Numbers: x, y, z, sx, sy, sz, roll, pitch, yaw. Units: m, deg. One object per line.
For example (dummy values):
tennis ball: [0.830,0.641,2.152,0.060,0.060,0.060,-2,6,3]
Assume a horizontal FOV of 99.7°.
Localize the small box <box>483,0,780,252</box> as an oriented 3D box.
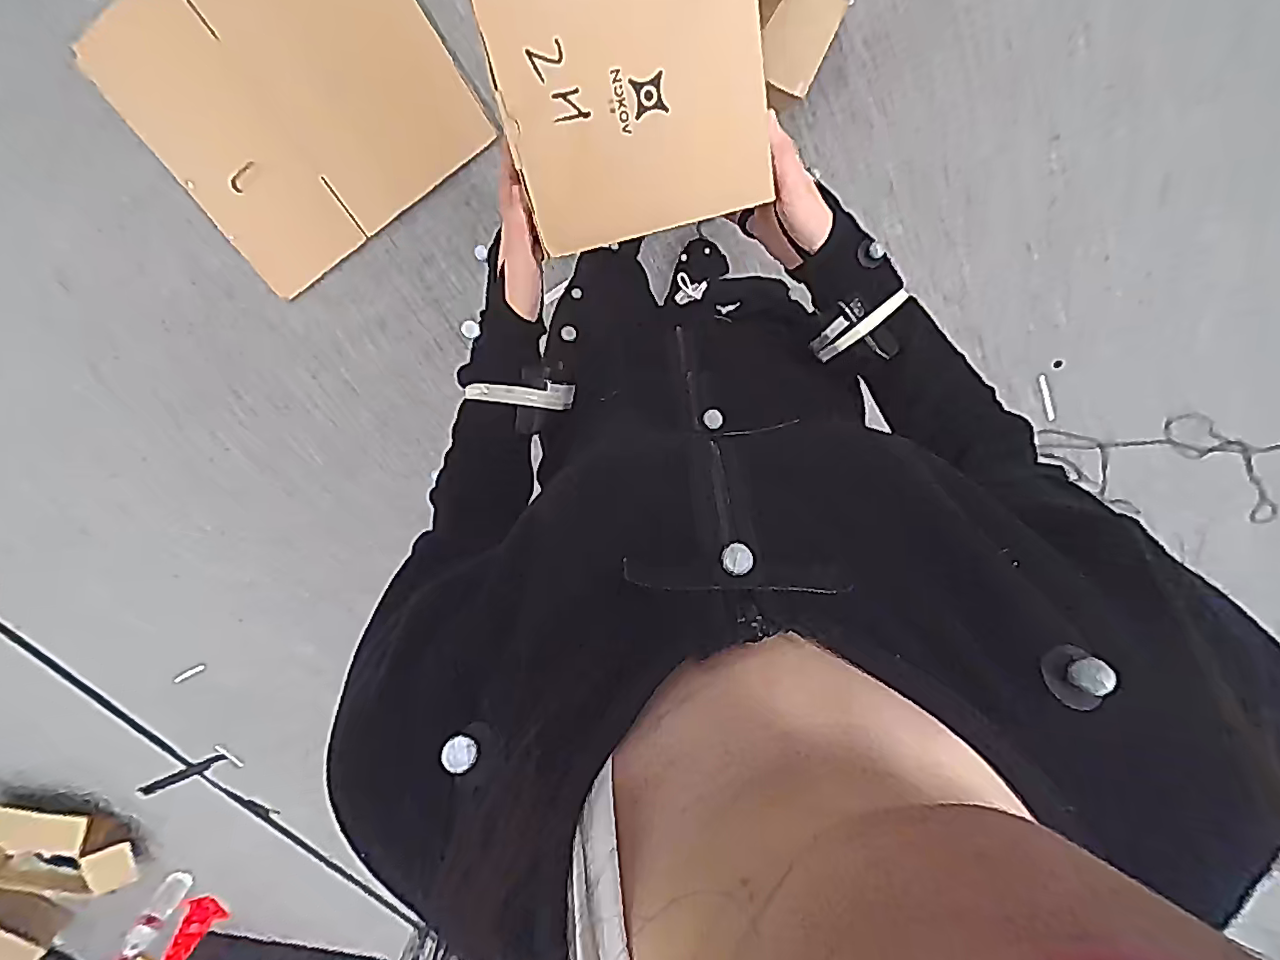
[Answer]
small box: [-0.008,-0.291,0.420,0.179,0.176,0.168,-14,120,0]
